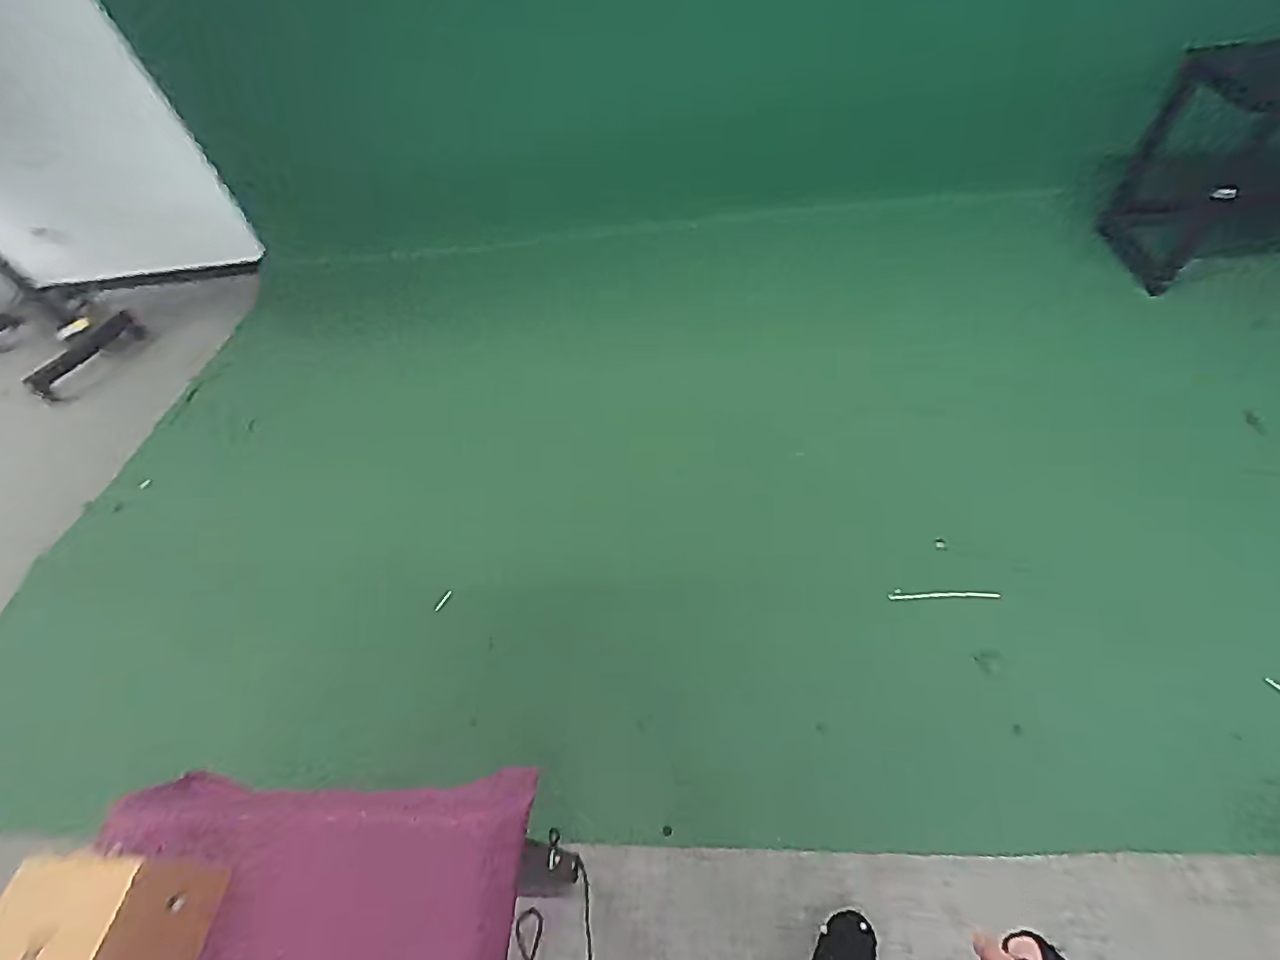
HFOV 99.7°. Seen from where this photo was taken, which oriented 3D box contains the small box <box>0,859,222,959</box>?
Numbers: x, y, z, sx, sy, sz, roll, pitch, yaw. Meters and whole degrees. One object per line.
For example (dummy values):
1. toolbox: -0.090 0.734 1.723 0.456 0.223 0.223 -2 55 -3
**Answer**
1. small box: -0.677 0.586 0.670 0.168 0.176 0.179 -1 53 6
